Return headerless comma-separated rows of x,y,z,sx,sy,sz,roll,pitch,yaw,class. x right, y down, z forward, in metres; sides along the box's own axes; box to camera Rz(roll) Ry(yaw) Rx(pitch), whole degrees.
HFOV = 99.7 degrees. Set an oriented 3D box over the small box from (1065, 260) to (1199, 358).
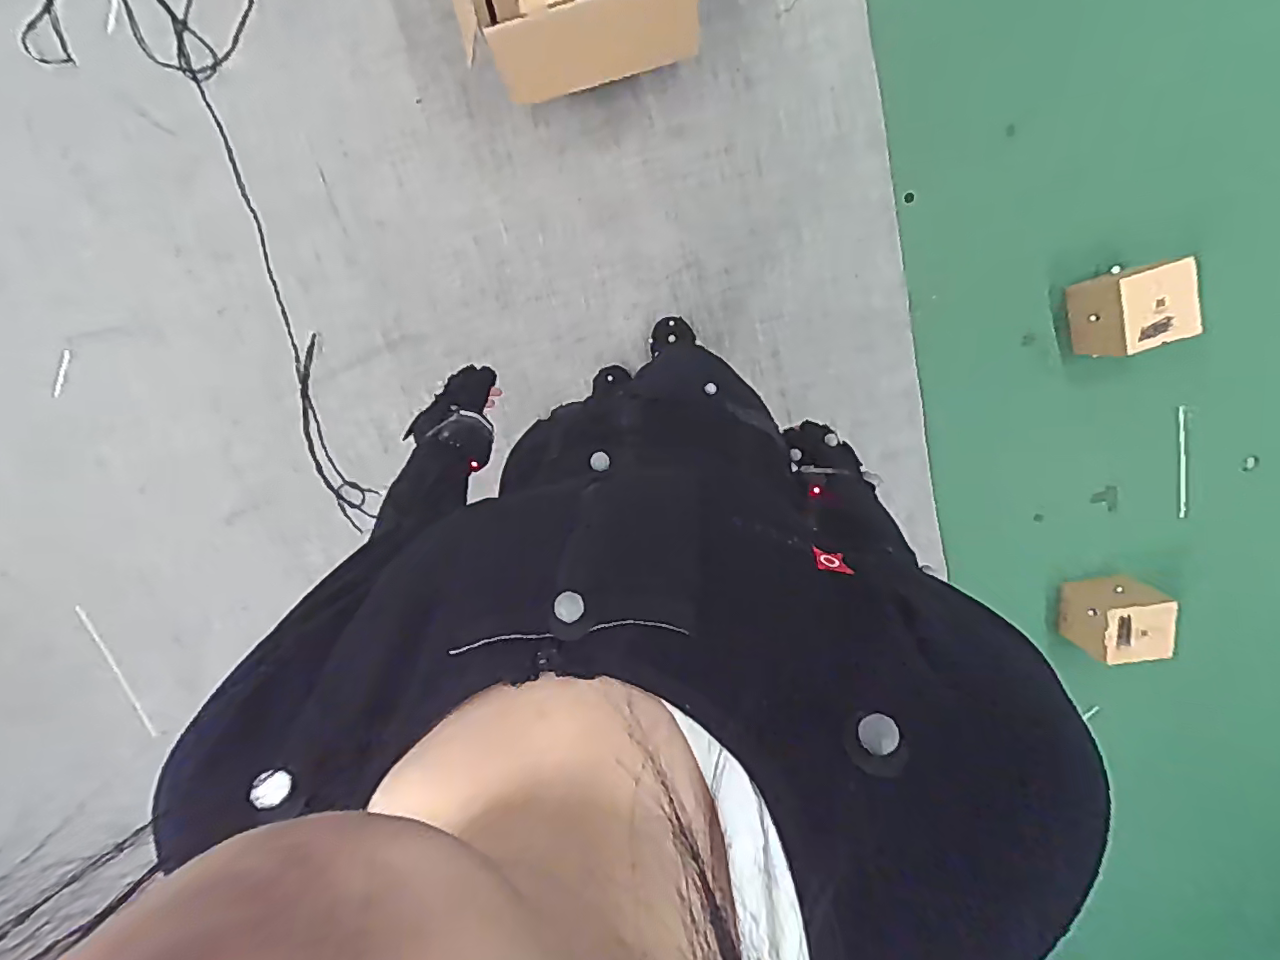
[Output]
1.163,-0.401,1.288,0.168,0.176,0.179,-17,102,5,small box
